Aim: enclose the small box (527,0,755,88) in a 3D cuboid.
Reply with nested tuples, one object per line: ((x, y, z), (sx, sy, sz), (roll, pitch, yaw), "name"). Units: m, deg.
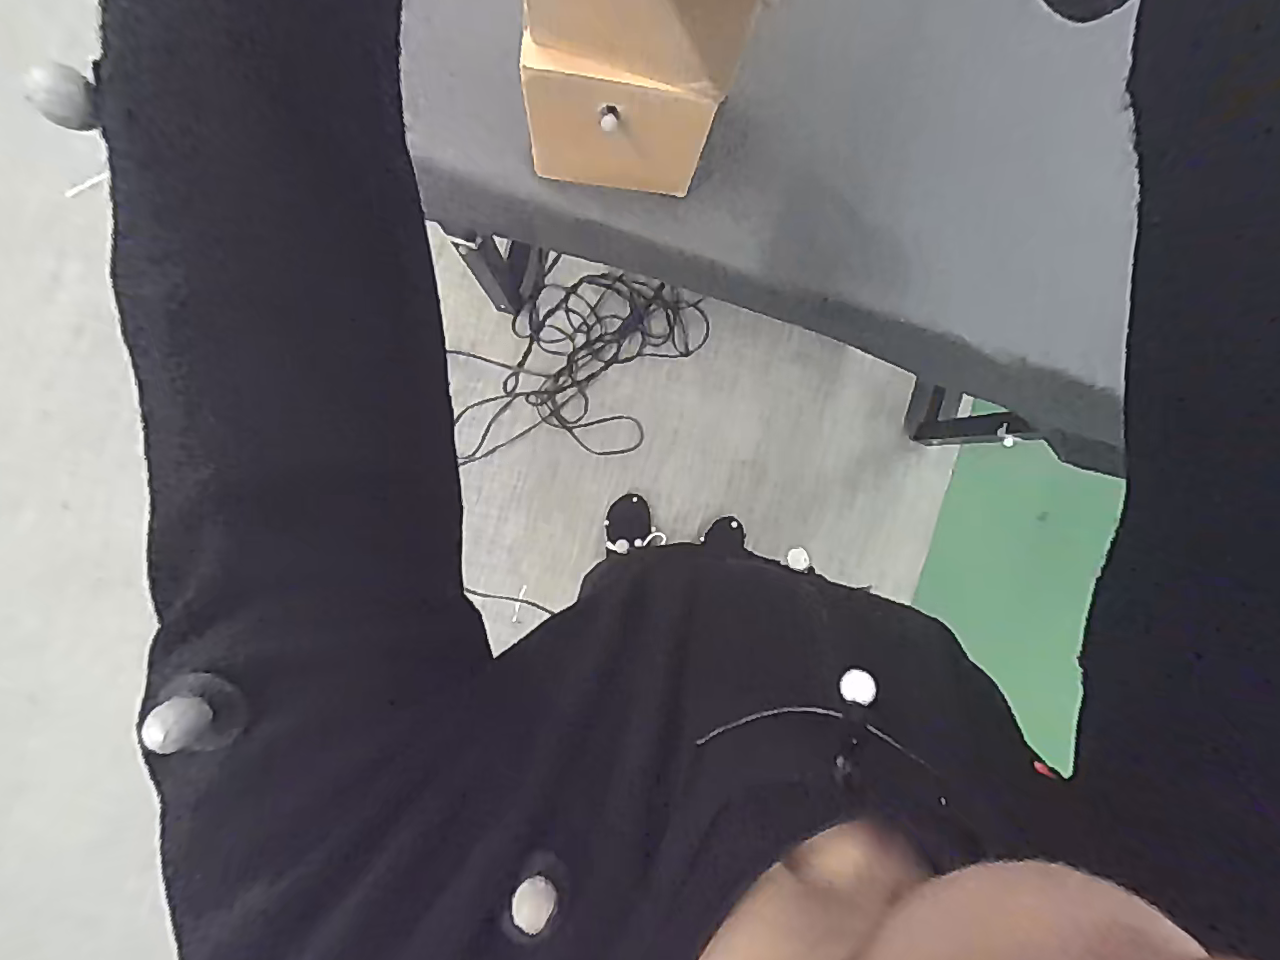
((0.014, -0.426, 0.380), (0.179, 0.176, 0.168), (14, 90, -5), "small box")

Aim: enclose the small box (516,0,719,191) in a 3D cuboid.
((-0.017, -0.418, 0.541), (0.179, 0.176, 0.168), (6, 90, -4), "small box")
